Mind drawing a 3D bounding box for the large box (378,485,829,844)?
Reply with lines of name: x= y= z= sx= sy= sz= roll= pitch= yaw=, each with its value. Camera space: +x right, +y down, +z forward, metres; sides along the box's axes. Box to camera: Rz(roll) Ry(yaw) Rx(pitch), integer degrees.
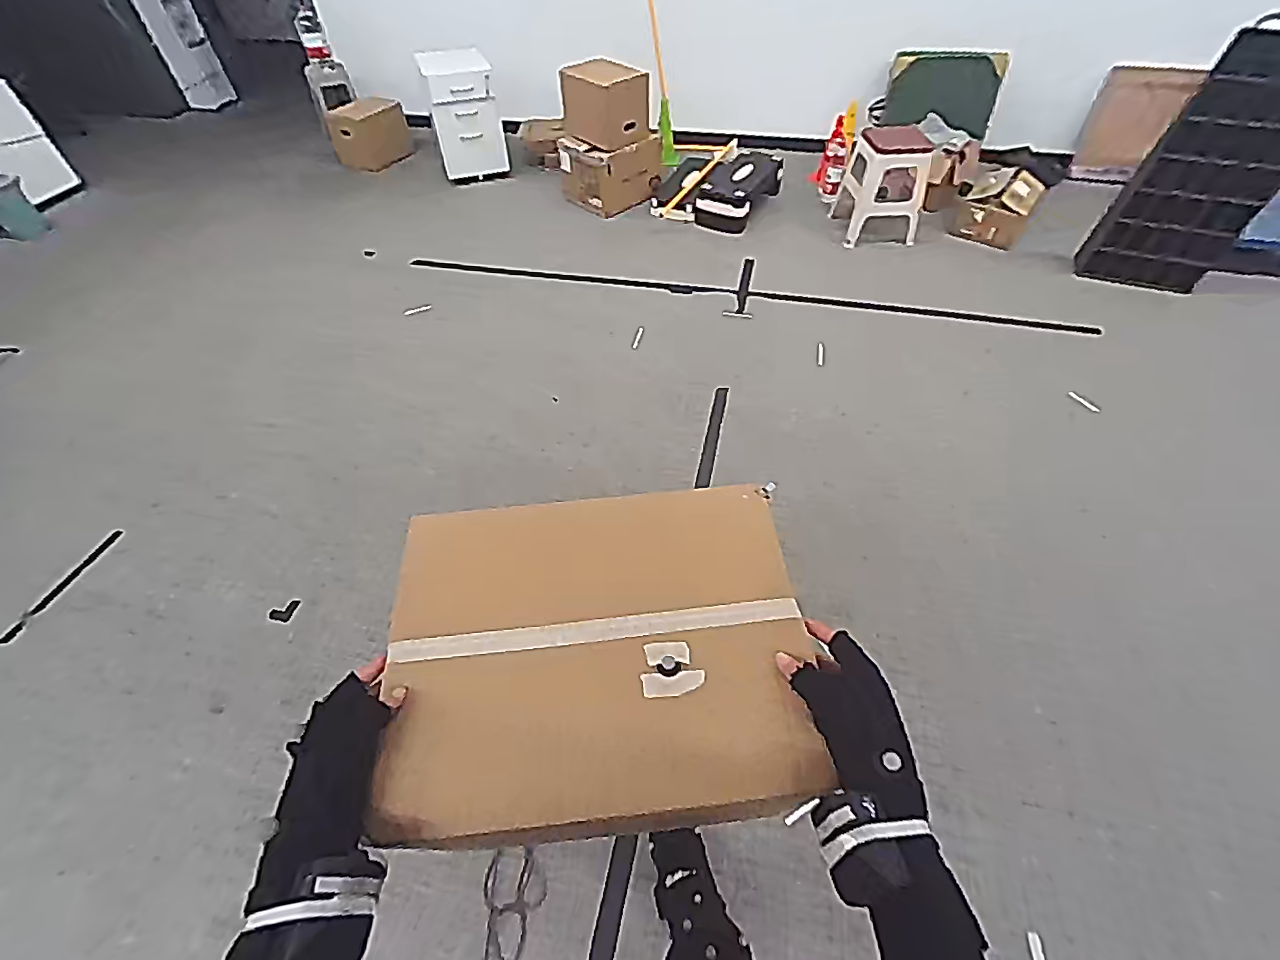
large box: x=-0.043 y=0.236 z=0.672 sx=0.408 sy=0.320 sz=0.320 roll=-5 pitch=55 yaw=-3
